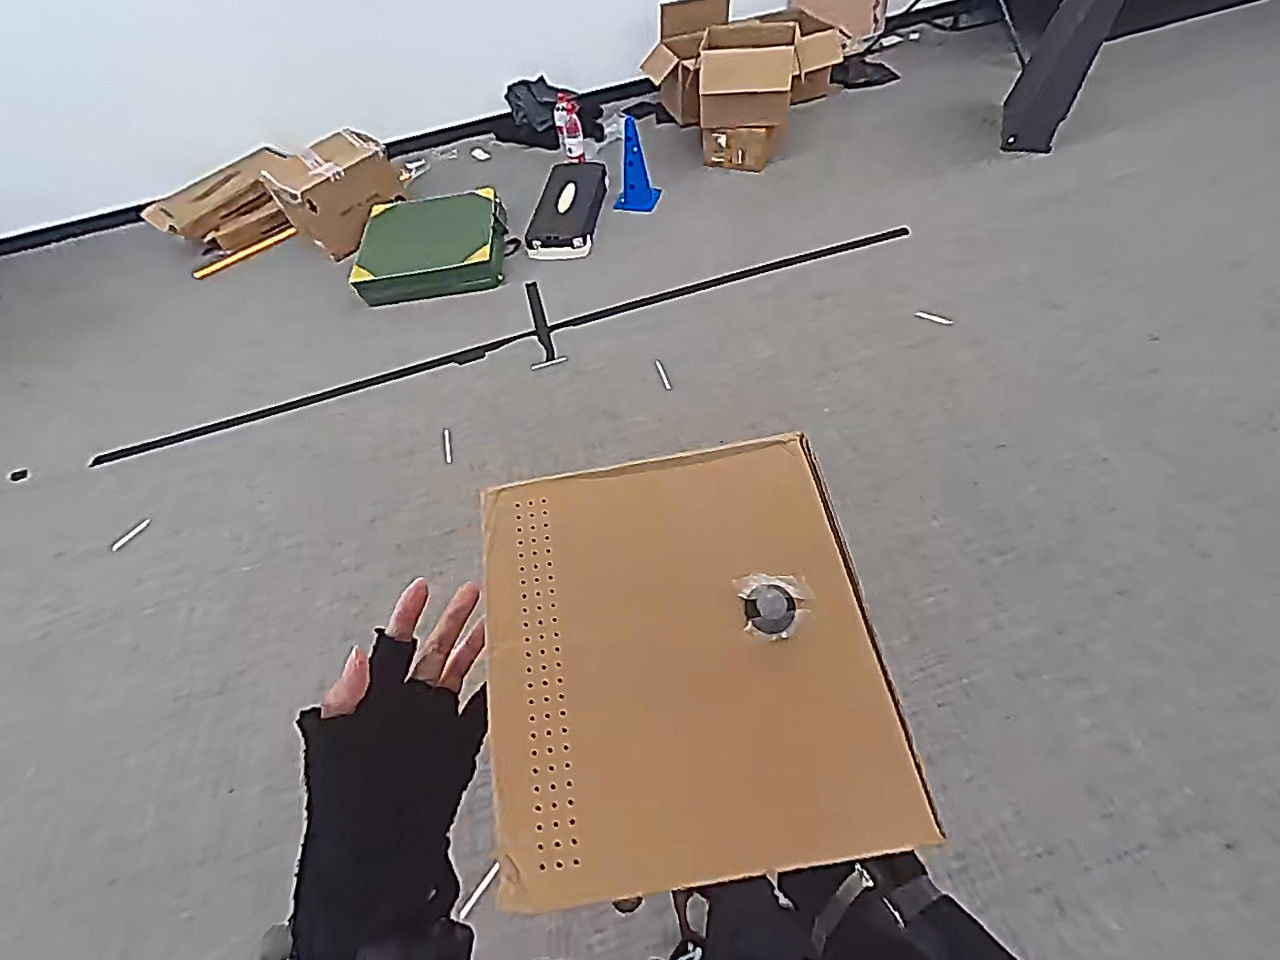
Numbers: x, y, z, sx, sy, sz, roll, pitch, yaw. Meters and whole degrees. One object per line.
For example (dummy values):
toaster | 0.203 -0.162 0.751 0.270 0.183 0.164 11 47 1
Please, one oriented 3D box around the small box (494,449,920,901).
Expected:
small box | 0.020 0.108 0.316 0.176 0.168 0.179 -10 64 1
